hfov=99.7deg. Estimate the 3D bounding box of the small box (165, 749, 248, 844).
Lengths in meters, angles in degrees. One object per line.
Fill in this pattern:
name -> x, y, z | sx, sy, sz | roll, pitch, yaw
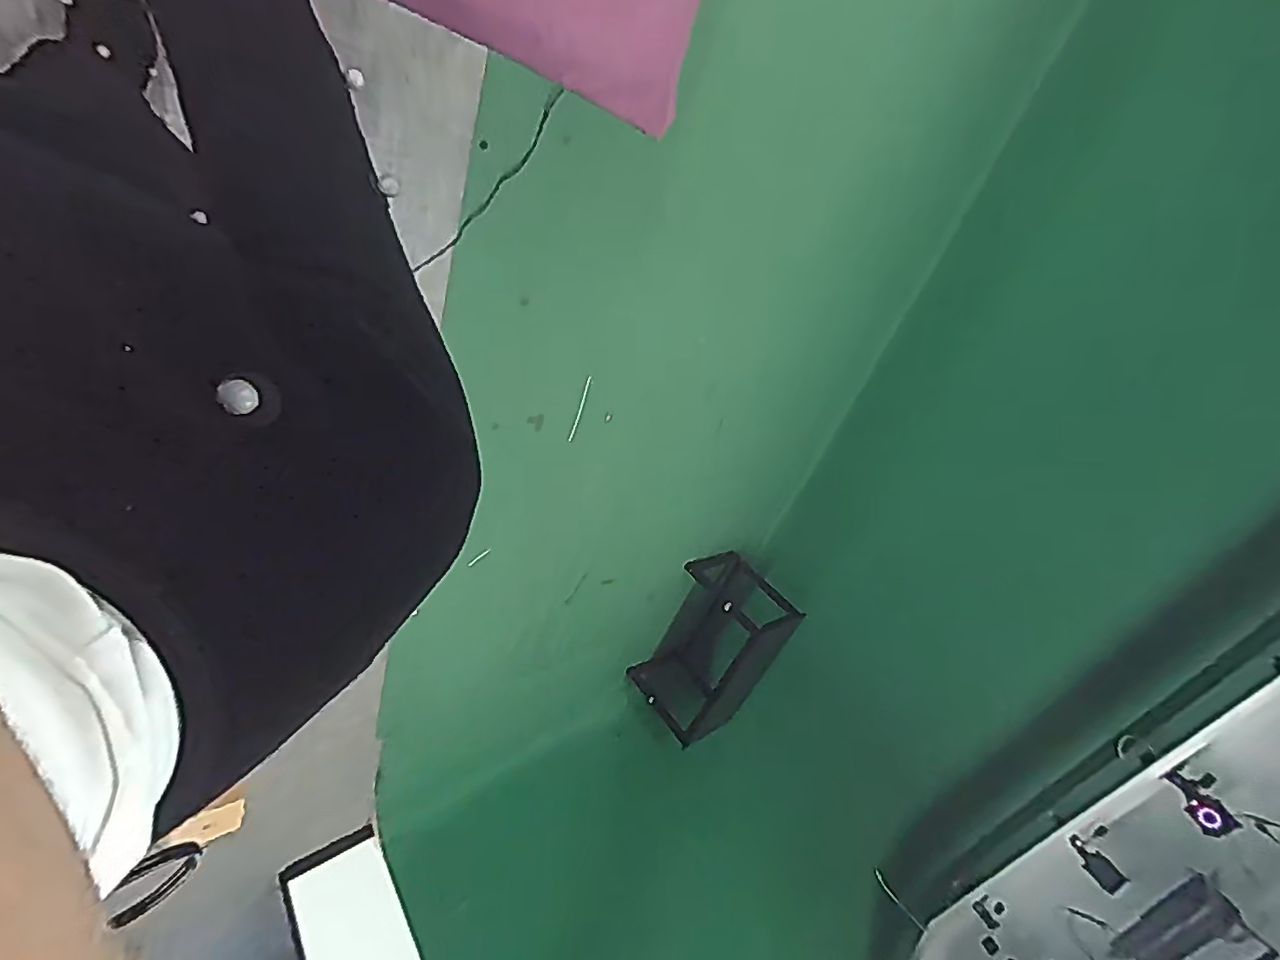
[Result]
small box -> -1.368, 0.987, 1.703 | 0.179, 0.176, 0.168 | 0, 125, -46
